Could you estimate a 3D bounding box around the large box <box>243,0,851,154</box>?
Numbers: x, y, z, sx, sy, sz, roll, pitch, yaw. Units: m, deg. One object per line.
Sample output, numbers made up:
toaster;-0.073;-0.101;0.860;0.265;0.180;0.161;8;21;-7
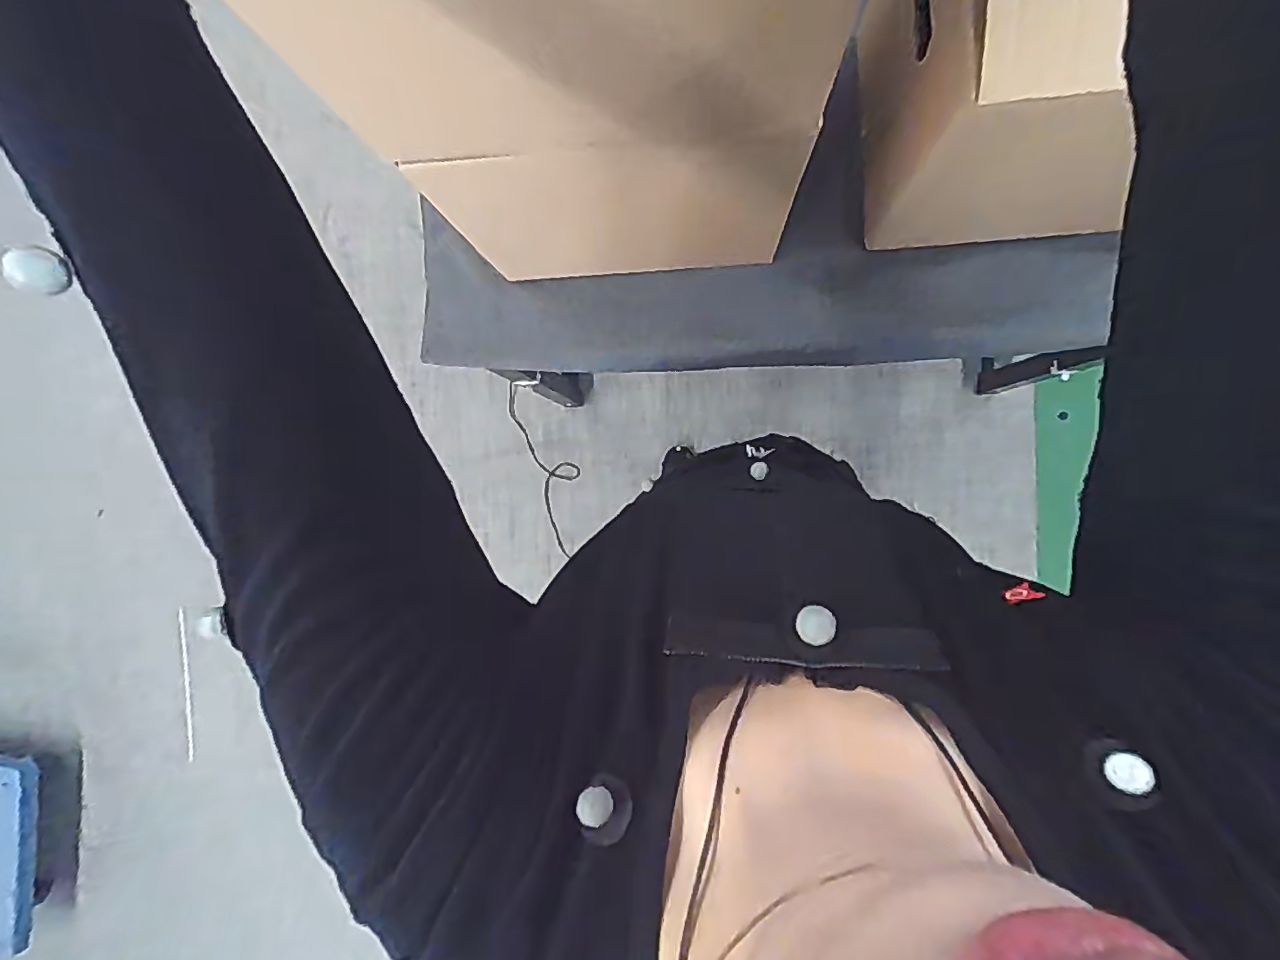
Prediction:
large box;-0.063;-0.460;0.347;0.408;0.320;0.320;-1;91;4
